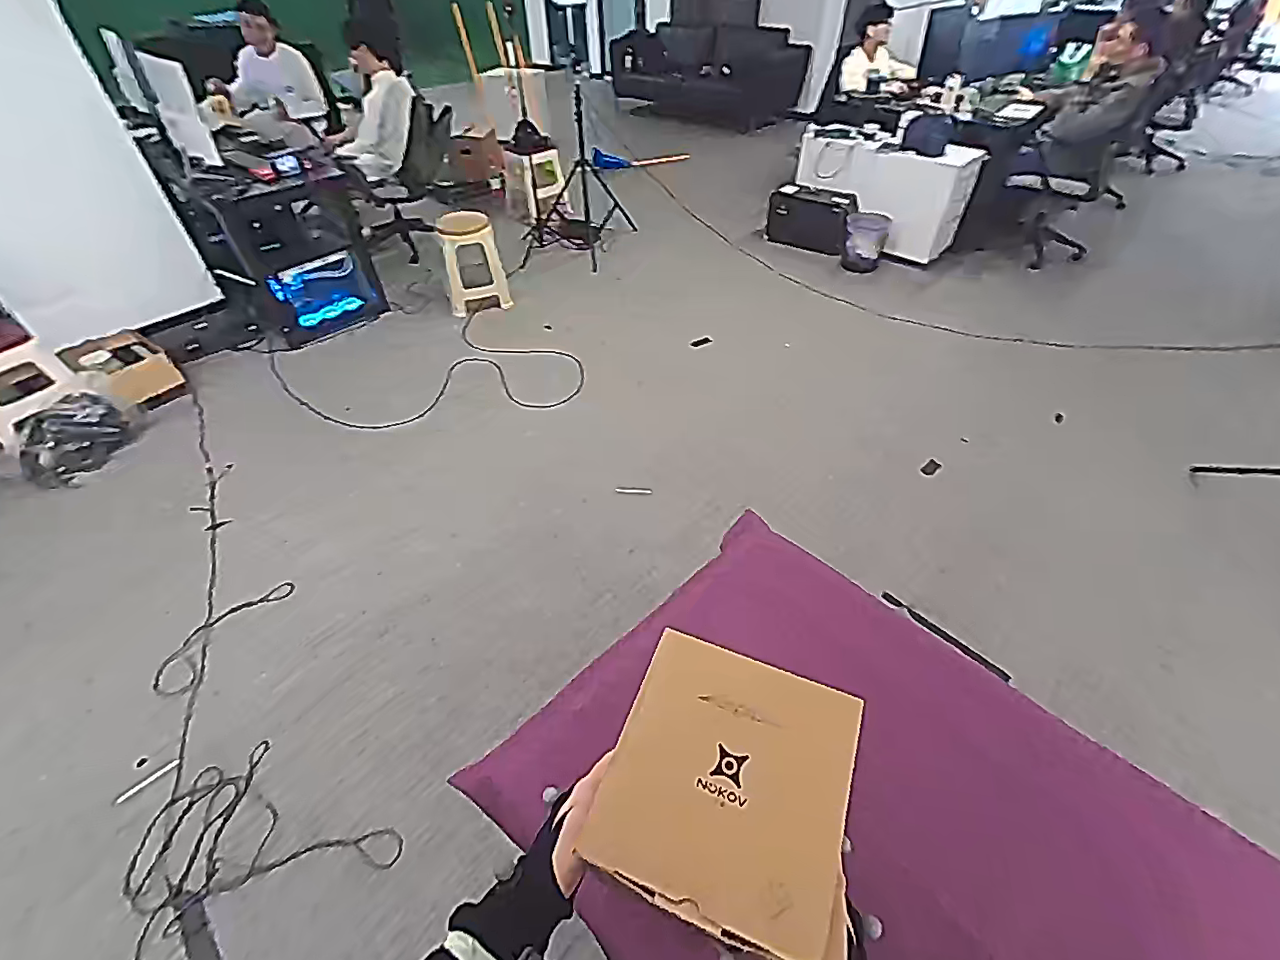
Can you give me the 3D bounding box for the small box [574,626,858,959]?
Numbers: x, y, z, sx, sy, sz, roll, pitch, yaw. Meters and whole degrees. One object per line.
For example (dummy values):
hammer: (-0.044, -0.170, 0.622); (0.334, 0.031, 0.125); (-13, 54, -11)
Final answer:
small box: (0.065, 0.259, 0.449); (0.168, 0.176, 0.179); (16, 51, 15)
